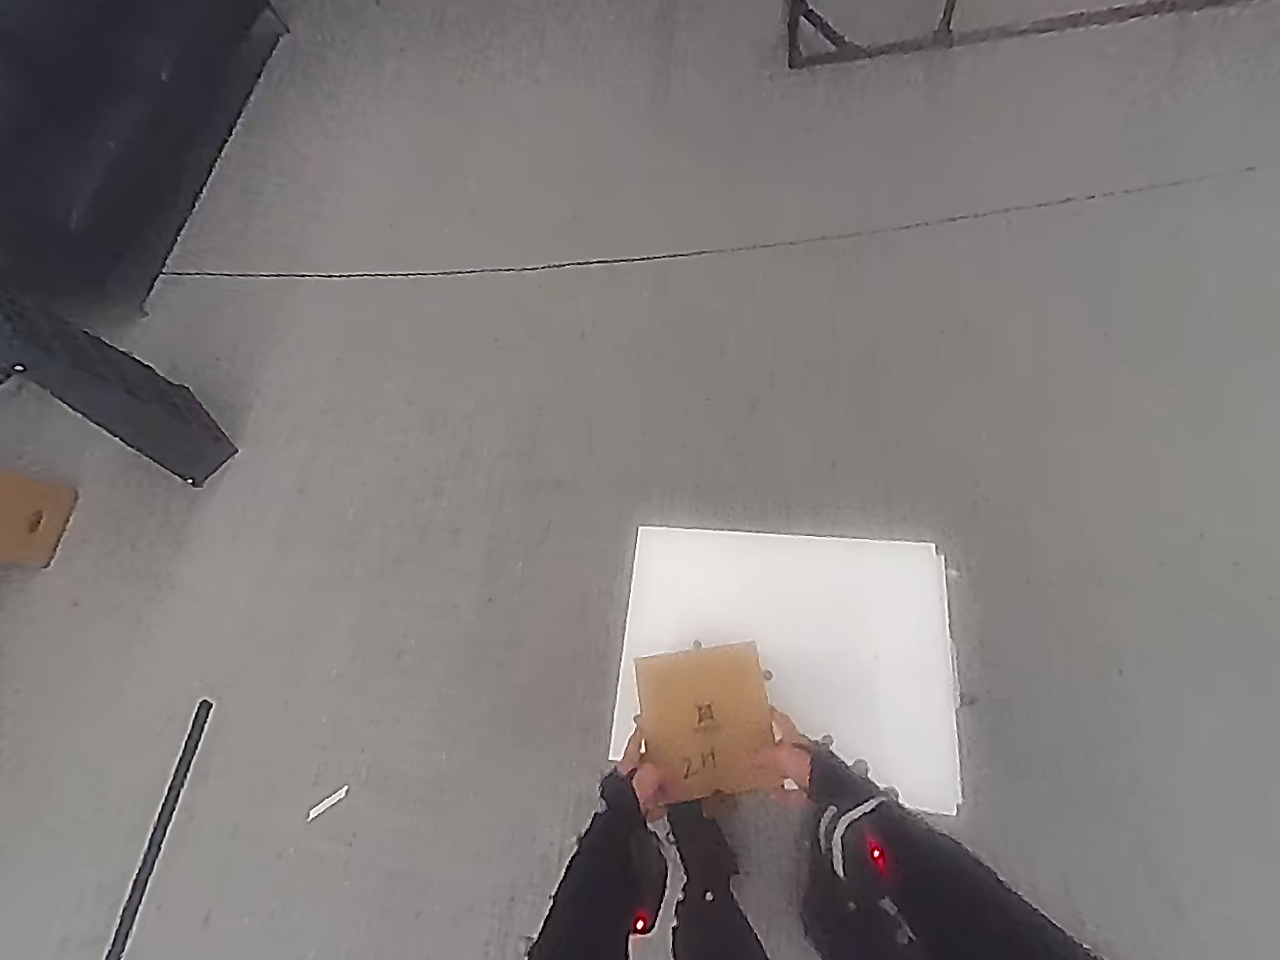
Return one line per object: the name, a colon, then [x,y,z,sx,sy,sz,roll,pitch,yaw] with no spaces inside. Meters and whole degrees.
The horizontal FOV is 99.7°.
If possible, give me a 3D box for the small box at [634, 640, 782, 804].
small box: [0.089,0.327,0.754,0.168,0.176,0.179,-10,71,4]
